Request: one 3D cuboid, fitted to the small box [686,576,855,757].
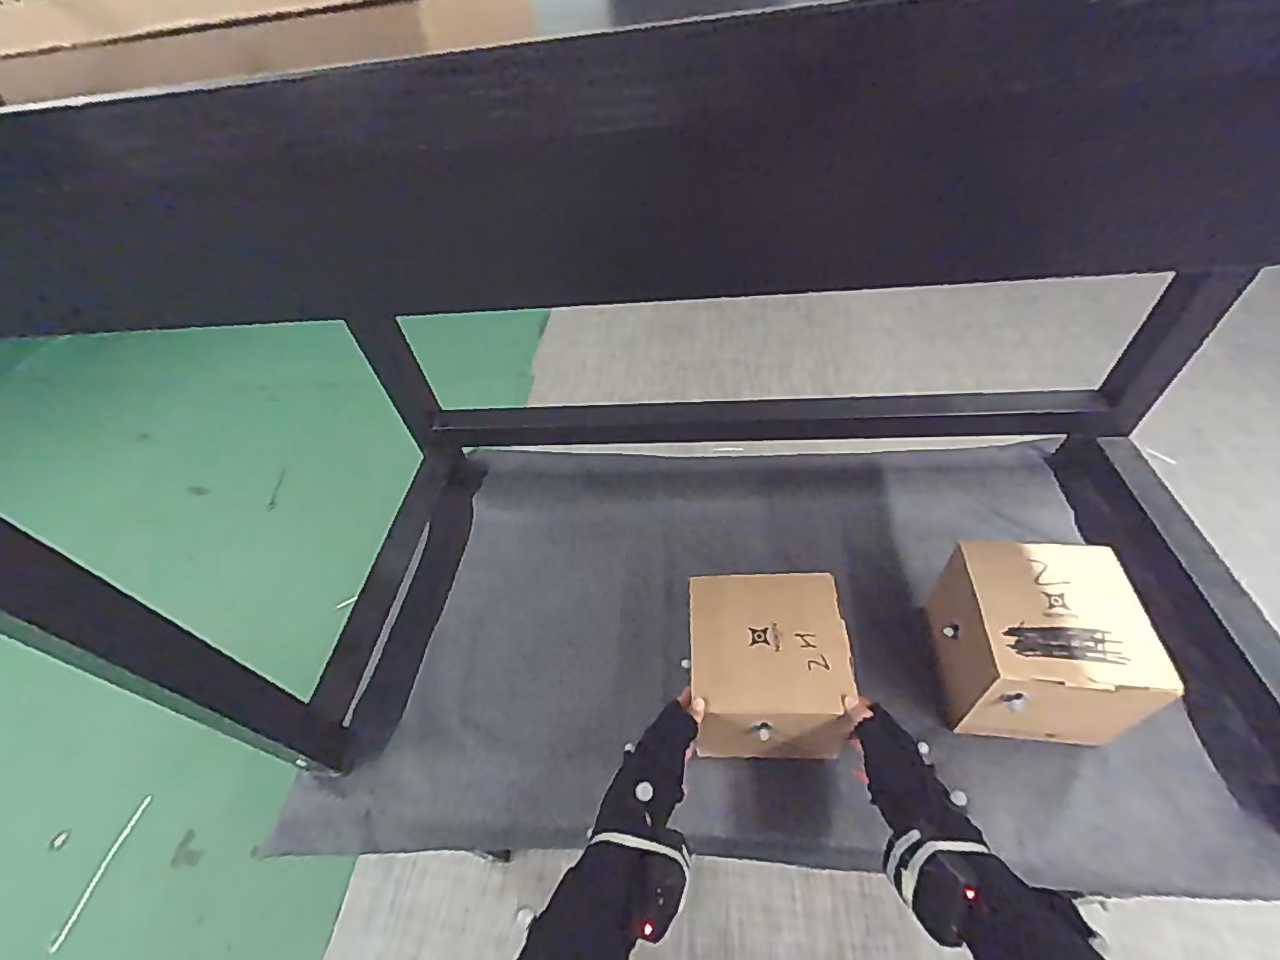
[{"bbox_3d":[0.151,0.235,0.674,0.179,0.176,0.168,-2,49,7],"label":"small box"}]

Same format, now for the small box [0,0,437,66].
[{"bbox_3d":[-0.157,-0.259,0.179,0.168,0.176,0.179,-2,48,7],"label":"small box"}]
